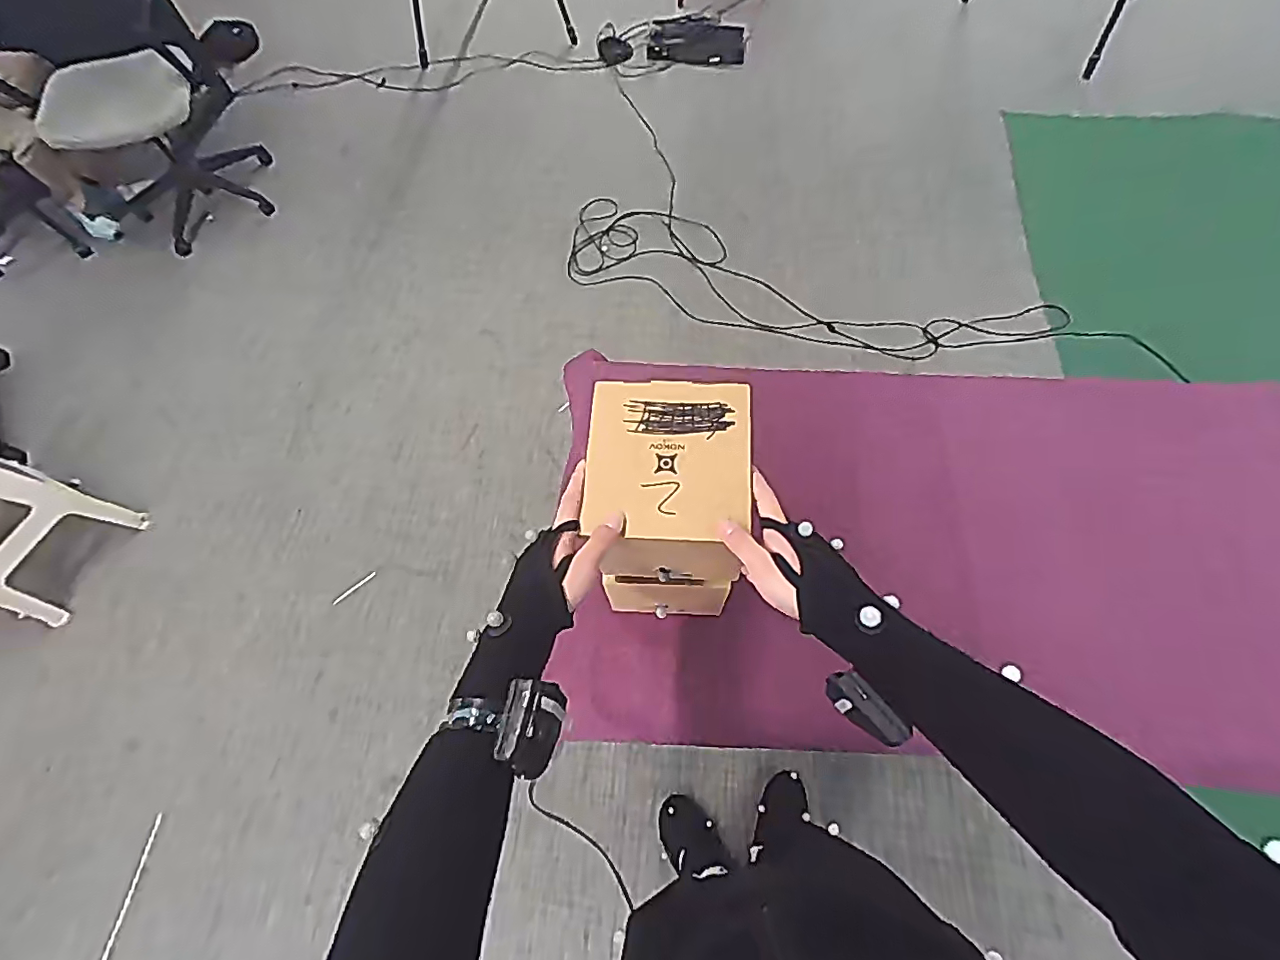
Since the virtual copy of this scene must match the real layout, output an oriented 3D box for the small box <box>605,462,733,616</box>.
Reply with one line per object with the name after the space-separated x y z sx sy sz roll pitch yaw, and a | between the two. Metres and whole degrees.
0.044 0.090 0.789 0.168 0.176 0.179 2 65 4 | small box
